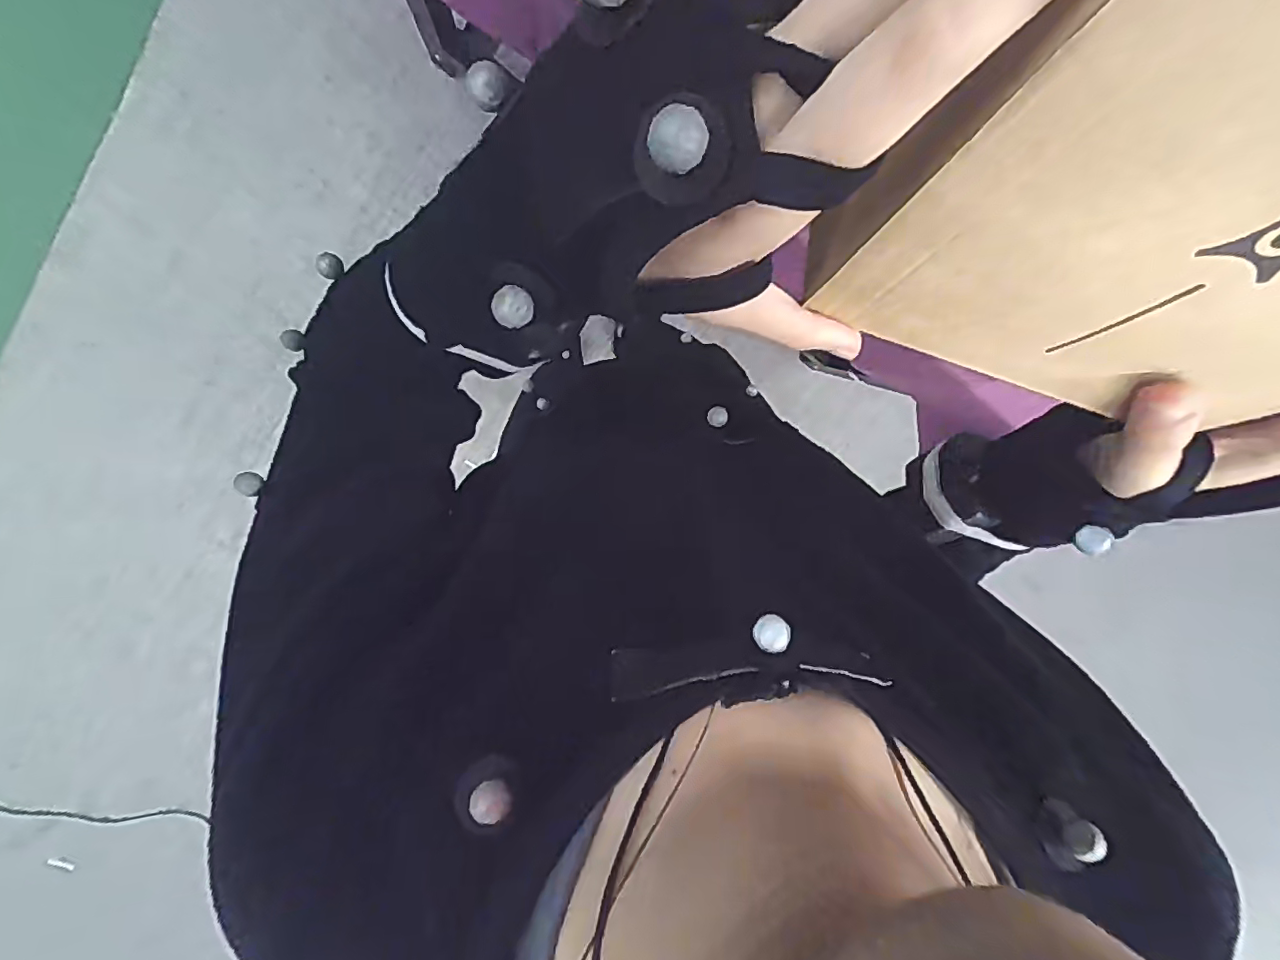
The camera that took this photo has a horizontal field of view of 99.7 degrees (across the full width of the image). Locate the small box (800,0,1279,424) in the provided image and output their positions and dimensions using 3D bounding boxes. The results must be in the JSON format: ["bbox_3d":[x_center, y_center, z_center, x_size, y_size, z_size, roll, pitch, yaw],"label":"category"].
[{"bbox_3d":[0.164,-0.138,0.145,0.168,0.179,0.176,15,73,-11],"label":"small box"}]
